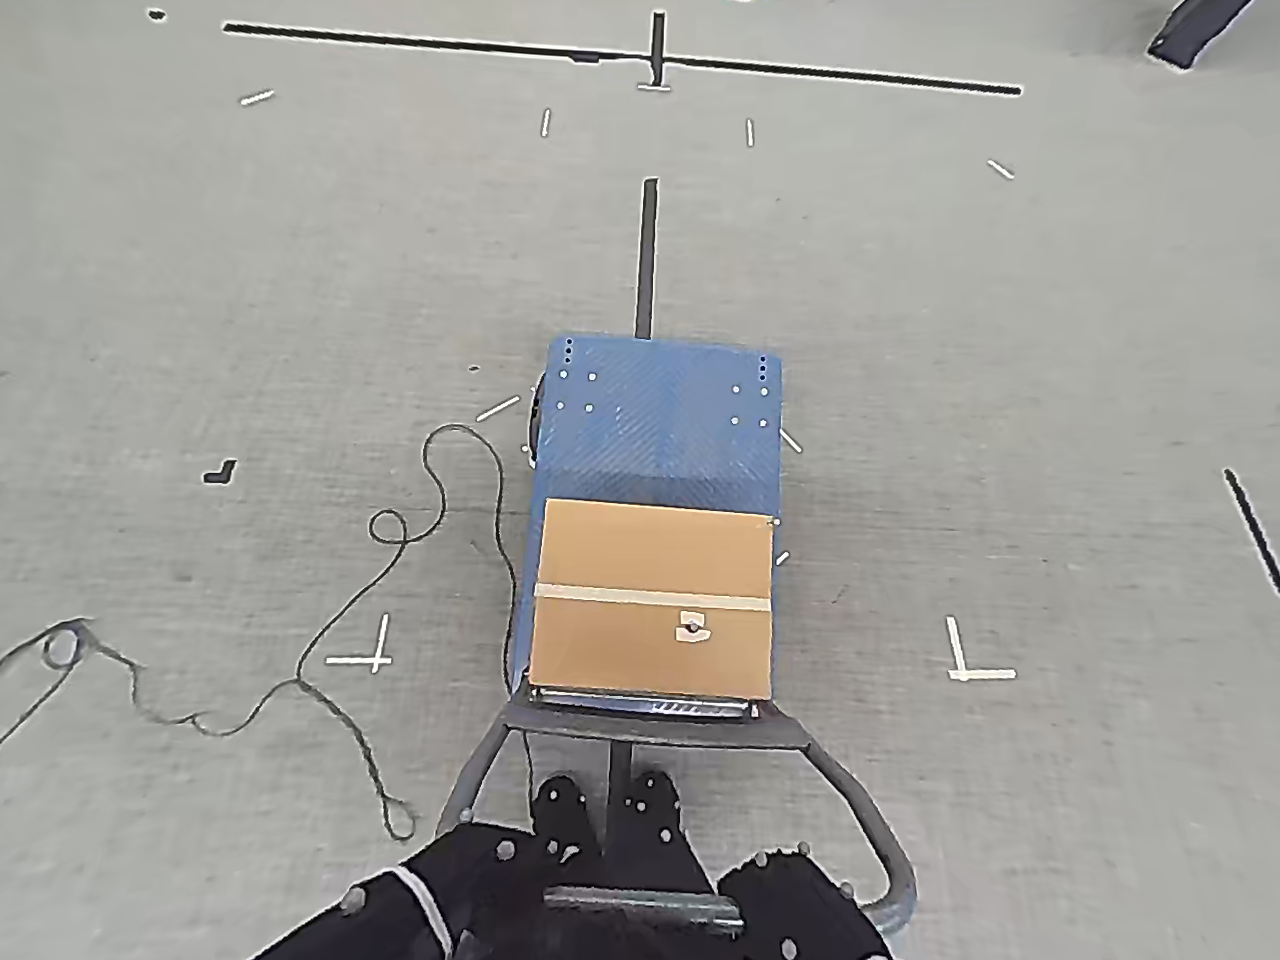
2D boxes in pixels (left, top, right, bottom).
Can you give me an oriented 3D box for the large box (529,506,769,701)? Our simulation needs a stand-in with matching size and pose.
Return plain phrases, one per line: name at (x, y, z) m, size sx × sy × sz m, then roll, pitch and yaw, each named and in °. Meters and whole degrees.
large box at (0.012, 0.237, 1.067) m, size 0.408 × 0.320 × 0.320 m, roll 5°, pitch 80°, yaw -3°
